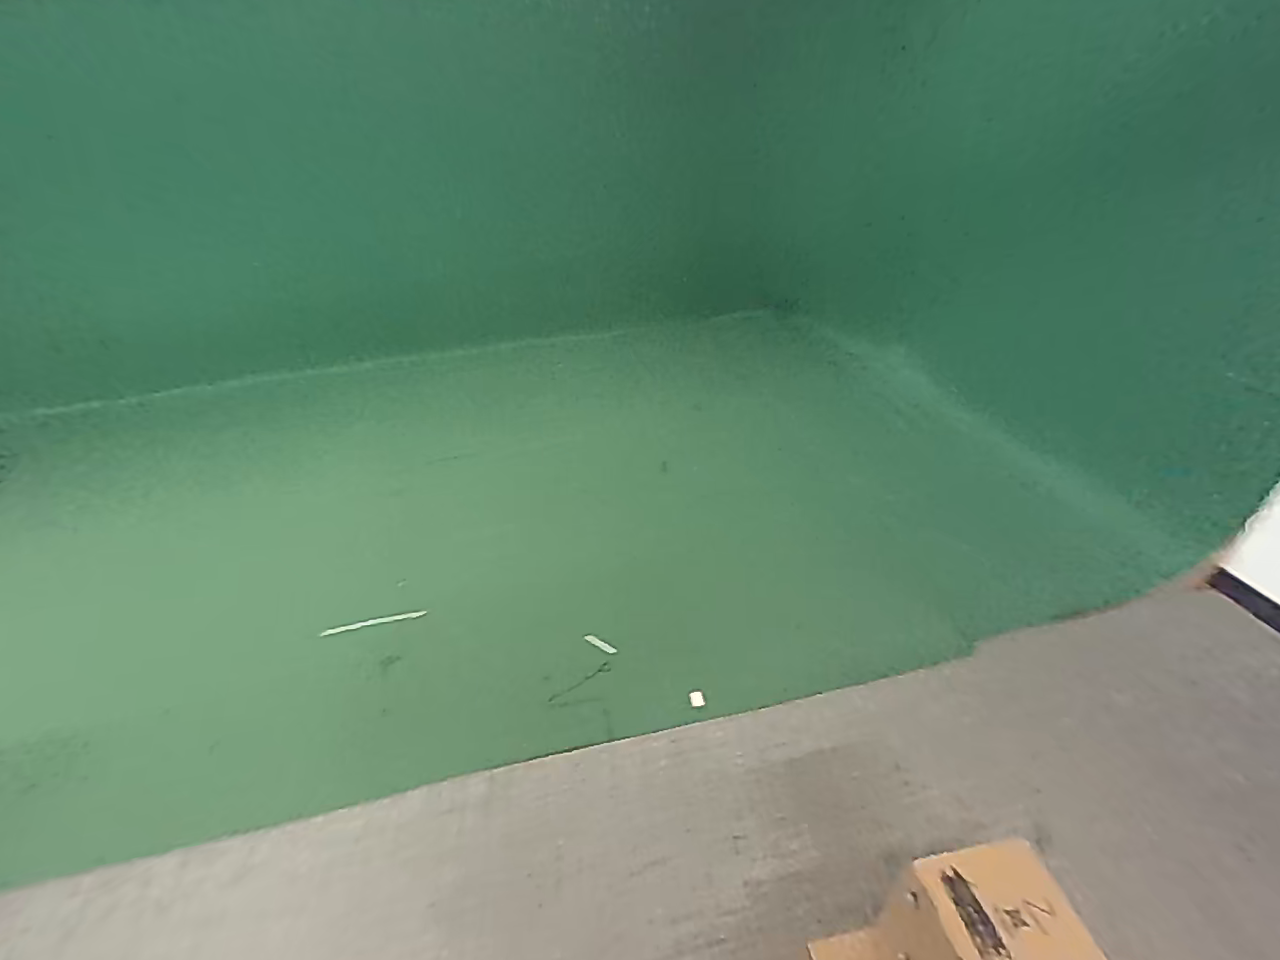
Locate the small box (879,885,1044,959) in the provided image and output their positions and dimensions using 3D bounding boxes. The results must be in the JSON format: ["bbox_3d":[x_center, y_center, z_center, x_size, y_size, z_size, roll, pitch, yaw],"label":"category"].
[{"bbox_3d":[0.500,0.758,0.833,0.179,0.176,0.168,-5,35,-3],"label":"small box"}]
